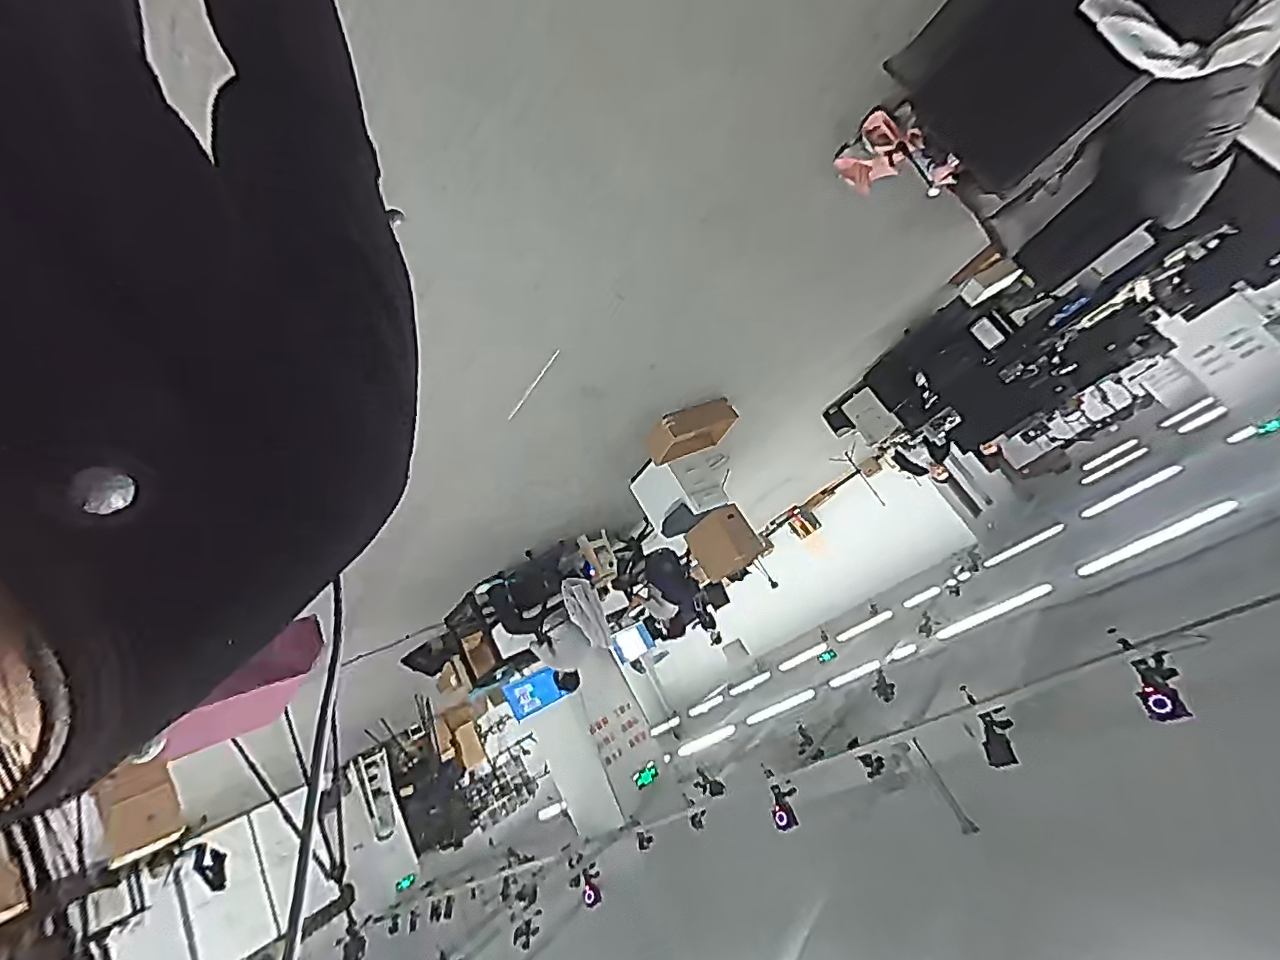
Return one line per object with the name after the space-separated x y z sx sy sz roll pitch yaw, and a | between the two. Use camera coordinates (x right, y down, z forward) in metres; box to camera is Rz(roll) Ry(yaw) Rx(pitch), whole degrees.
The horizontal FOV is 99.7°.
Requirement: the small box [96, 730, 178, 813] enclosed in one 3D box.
-1.727 0.993 1.850 0.168 0.176 0.179 -42 160 33 | small box

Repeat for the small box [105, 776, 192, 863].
-1.641 1.126 1.805 0.168 0.176 0.179 -42 160 33 | small box

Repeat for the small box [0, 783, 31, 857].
-1.930 1.023 1.585 0.179 0.176 0.168 -42 161 32 | small box
